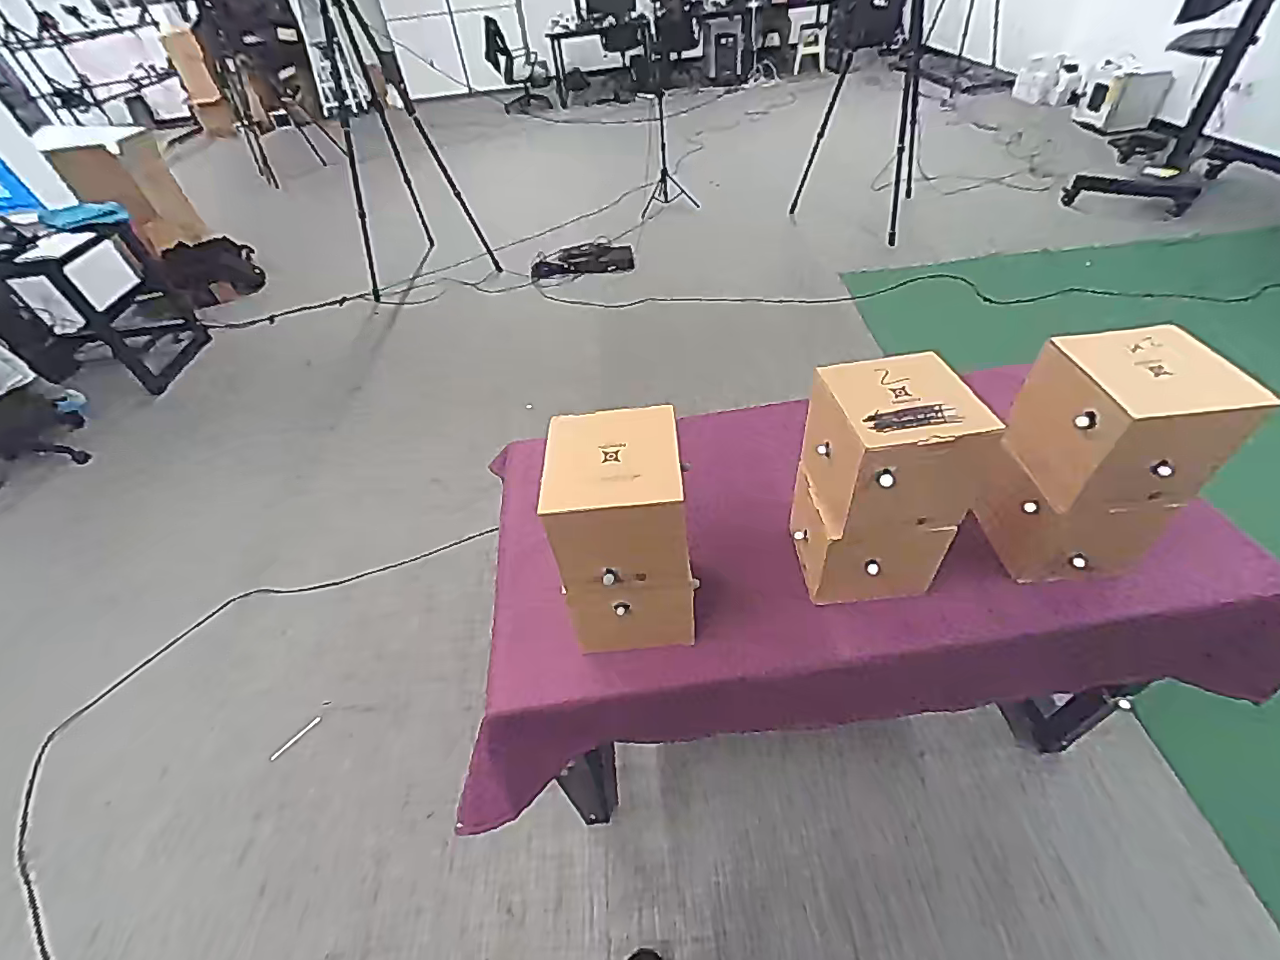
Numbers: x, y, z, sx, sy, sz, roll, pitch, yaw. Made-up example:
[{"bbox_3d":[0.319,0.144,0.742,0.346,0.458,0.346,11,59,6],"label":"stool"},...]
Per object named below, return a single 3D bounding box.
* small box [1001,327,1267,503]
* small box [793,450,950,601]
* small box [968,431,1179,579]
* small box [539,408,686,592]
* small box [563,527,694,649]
[{"bbox_3d":[0.639,-0.081,0.732,0.168,0.176,0.179,-5,45,2],"label":"small box"},{"bbox_3d":[0.346,0.075,0.851,0.179,0.176,0.168,-6,45,3],"label":"small box"},{"bbox_3d":[0.654,0.034,0.849,0.168,0.176,0.179,-5,45,4],"label":"small box"},{"bbox_3d":[-0.028,0.027,0.719,0.168,0.176,0.179,-5,45,4],"label":"small box"},{"bbox_3d":[-0.013,0.145,0.832,0.179,0.176,0.168,-5,45,1],"label":"small box"}]
